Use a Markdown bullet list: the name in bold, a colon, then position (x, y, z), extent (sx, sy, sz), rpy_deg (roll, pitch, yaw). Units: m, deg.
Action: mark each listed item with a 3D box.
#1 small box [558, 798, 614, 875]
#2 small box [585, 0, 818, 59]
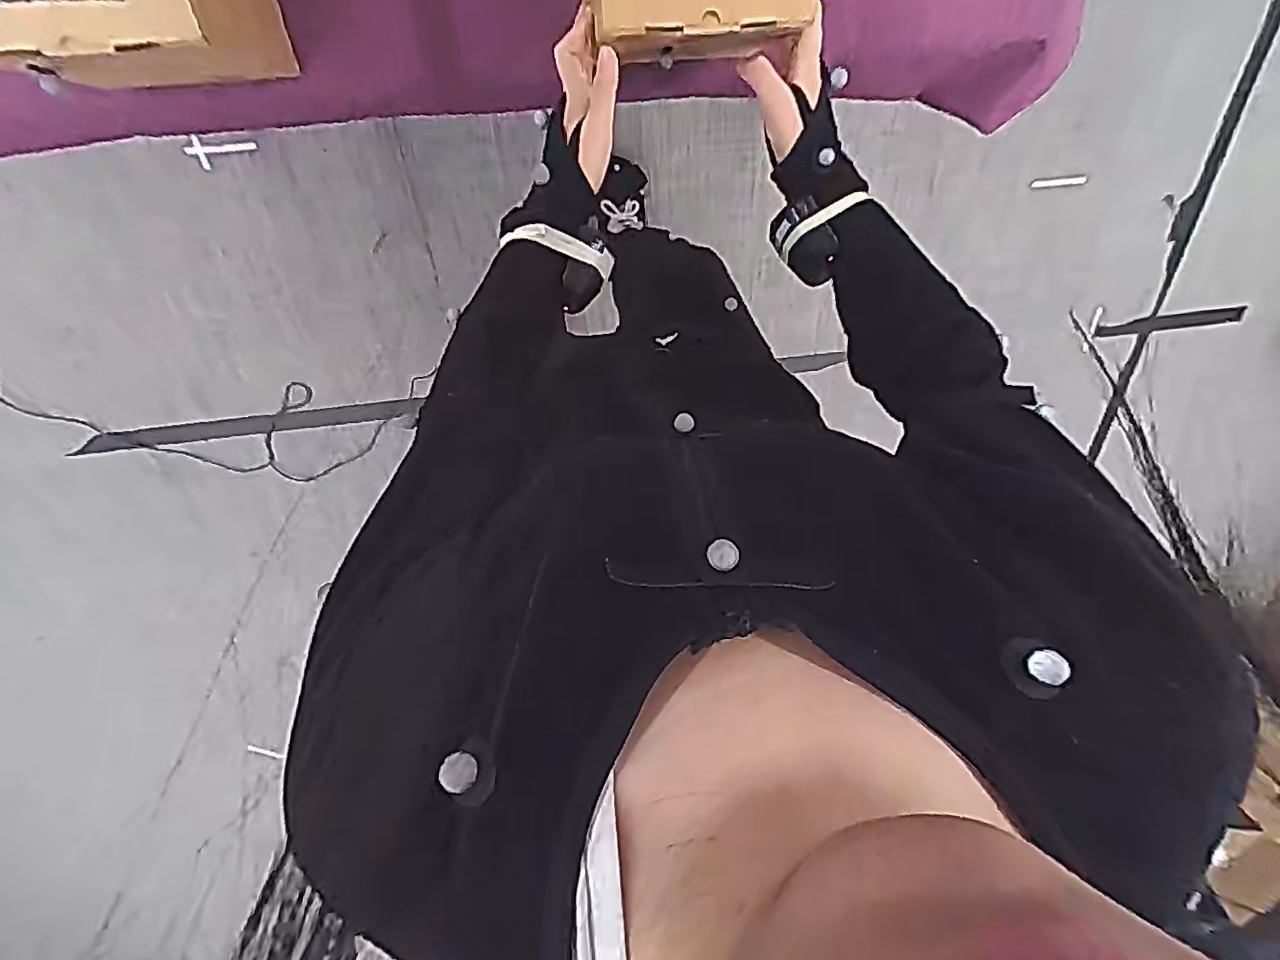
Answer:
- **small box**: position (-0.199, 1.294, 1.972), extent (0.179, 0.176, 0.168), rpy_deg (-9, 120, -4)
- **small box**: position (0.038, -0.456, 0.427), extent (0.168, 0.176, 0.179), rpy_deg (-7, 123, -6)
